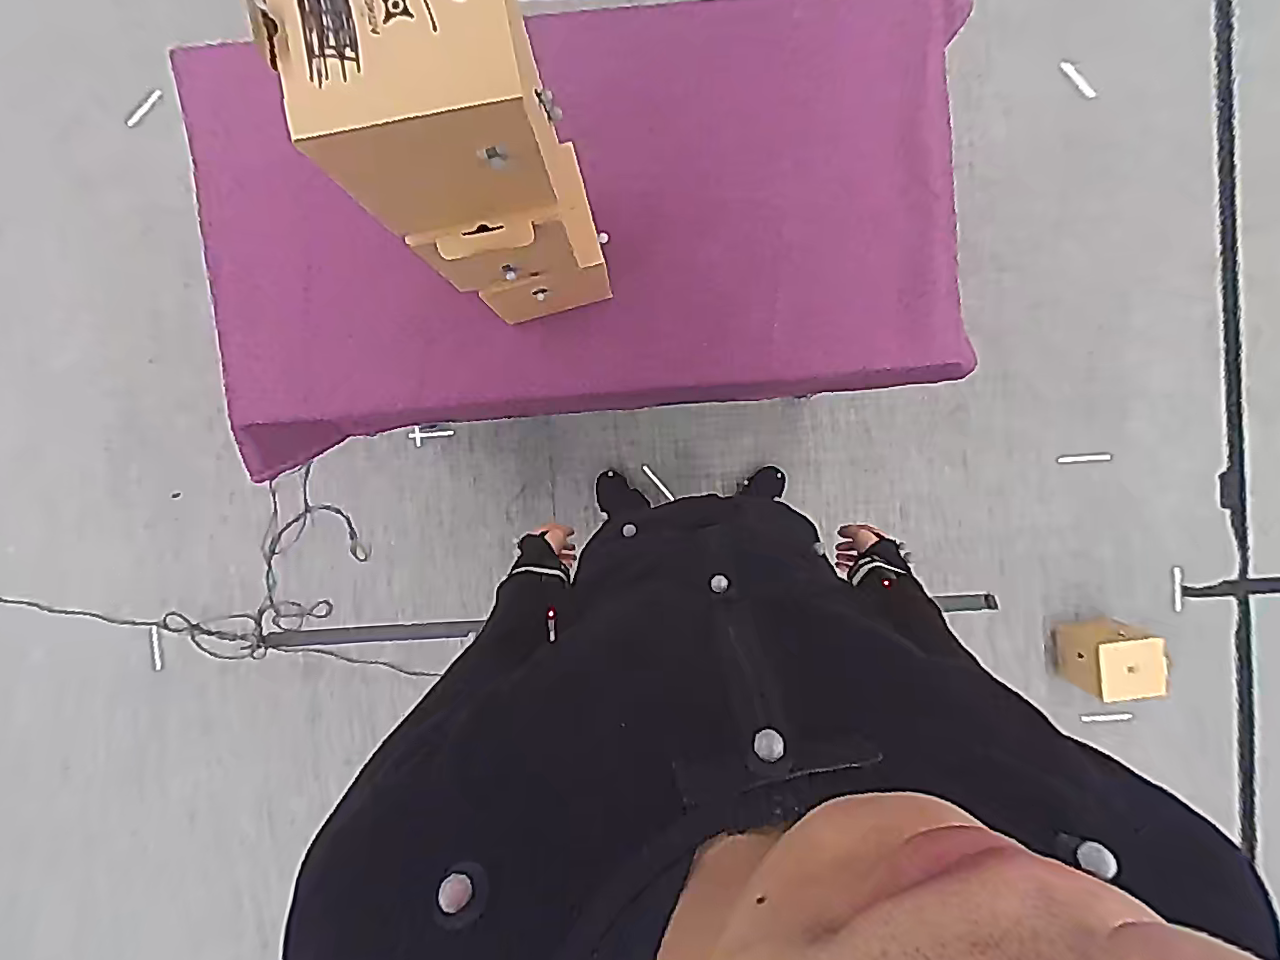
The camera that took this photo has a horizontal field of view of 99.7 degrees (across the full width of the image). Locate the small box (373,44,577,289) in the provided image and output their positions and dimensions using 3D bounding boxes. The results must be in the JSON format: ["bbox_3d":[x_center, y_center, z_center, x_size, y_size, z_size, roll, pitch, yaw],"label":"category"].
[{"bbox_3d":[-0.175,-0.344,0.627,0.168,0.176,0.179,-10,93,2],"label":"small box"}]

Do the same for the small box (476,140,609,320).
[{"bbox_3d":[-0.152,-0.349,0.792,0.179,0.176,0.168,-15,93,1],"label":"small box"}]

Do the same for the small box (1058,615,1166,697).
[{"bbox_3d":[1.349,0.503,1.559,0.179,0.176,0.168,-8,94,1],"label":"small box"}]
